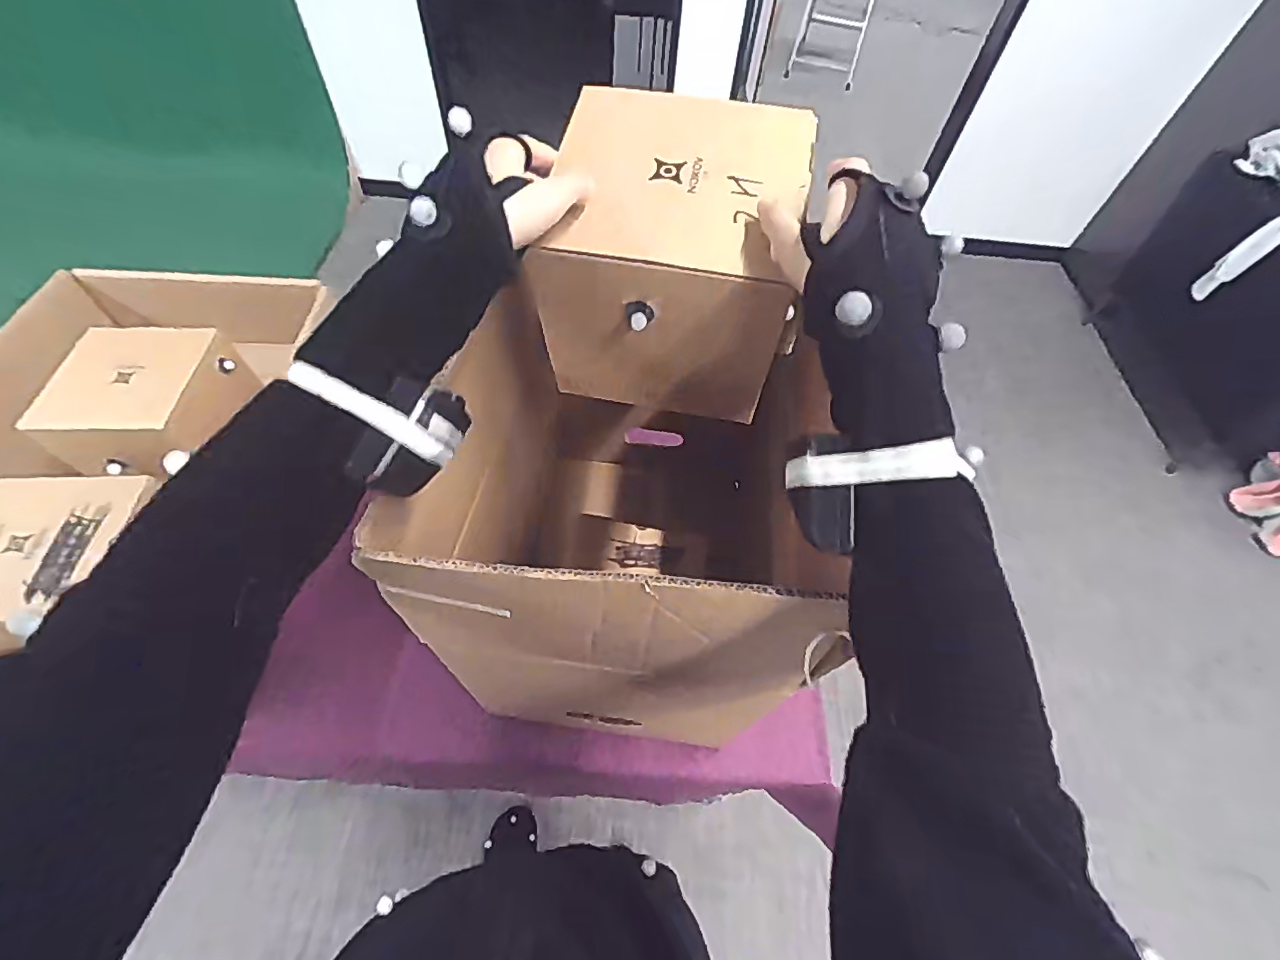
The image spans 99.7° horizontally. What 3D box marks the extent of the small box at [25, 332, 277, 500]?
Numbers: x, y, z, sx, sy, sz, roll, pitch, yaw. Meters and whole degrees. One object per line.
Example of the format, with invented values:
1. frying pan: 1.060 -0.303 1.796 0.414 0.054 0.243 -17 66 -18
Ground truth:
1. small box: -0.646 -0.083 0.748 0.168 0.176 0.179 -1 56 -3

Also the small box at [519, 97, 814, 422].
1. small box: 0.025 -0.164 0.436 0.179 0.176 0.168 11 68 5
